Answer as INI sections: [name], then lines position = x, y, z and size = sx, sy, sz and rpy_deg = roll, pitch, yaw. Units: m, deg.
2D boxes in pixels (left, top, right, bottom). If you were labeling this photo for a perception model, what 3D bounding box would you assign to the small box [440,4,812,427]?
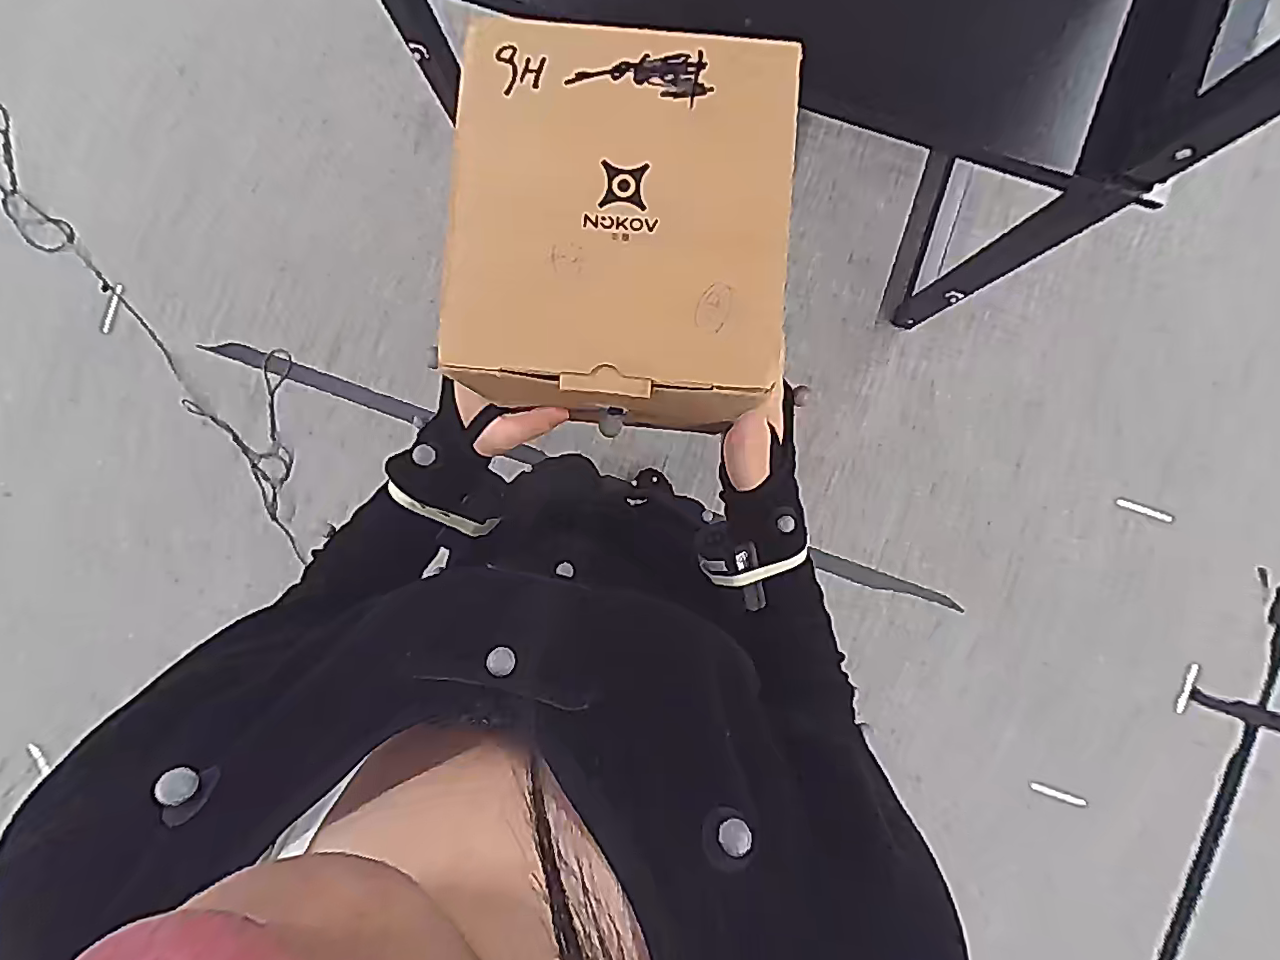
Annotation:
[small box]
position = -0.008, -0.130, 0.335
size = 0.168, 0.176, 0.179
rpy_deg = 5, 89, -2
